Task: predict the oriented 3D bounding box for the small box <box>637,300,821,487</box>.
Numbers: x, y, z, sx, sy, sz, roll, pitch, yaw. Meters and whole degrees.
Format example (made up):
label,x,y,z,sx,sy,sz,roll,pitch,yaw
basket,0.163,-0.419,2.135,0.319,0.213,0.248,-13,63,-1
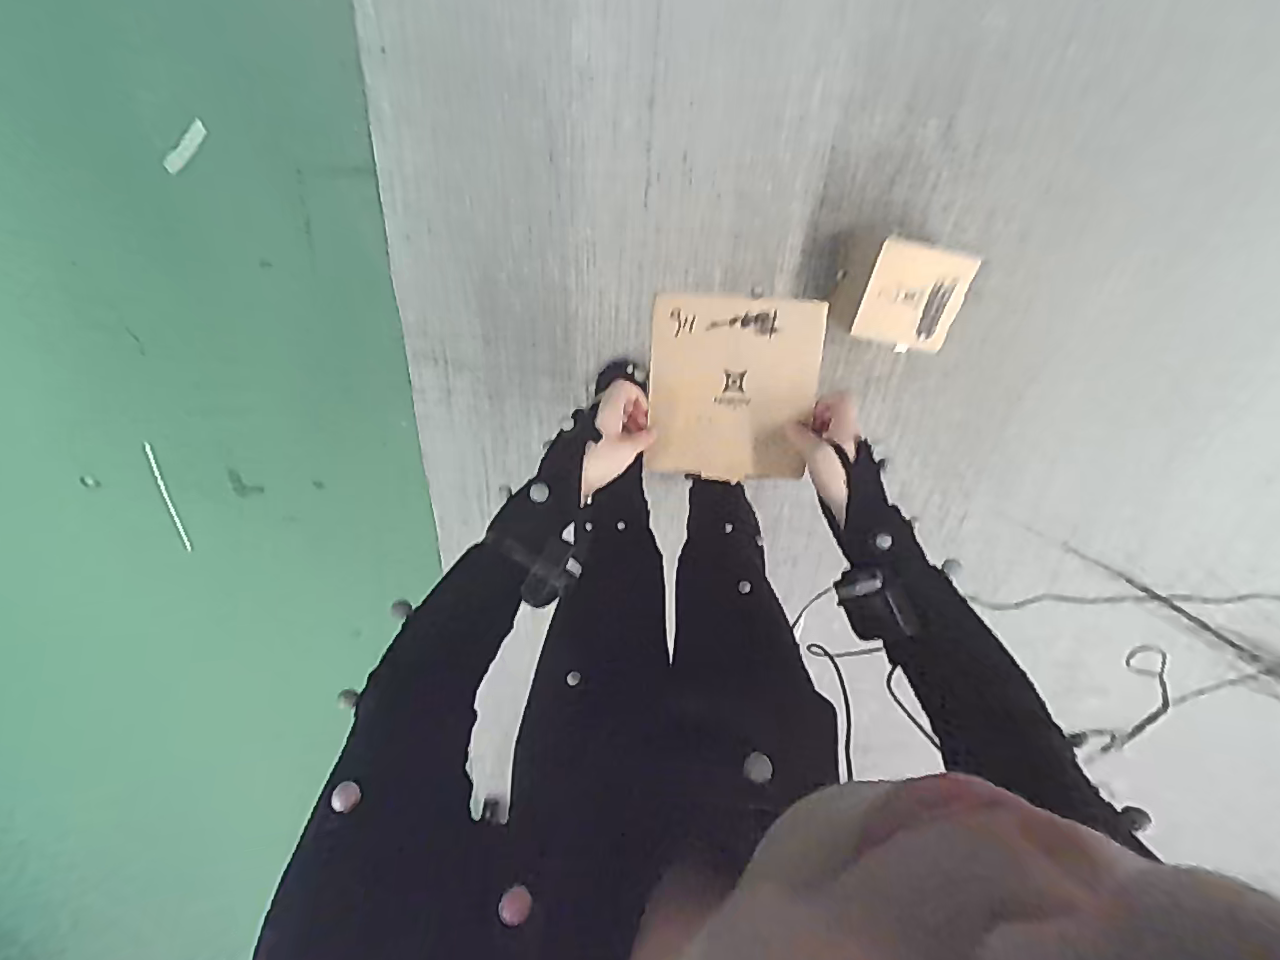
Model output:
label,x,y,z,sx,sy,sz,roll,pitch,yaw
small box,0.087,-0.104,0.610,0.168,0.176,0.179,4,107,0
